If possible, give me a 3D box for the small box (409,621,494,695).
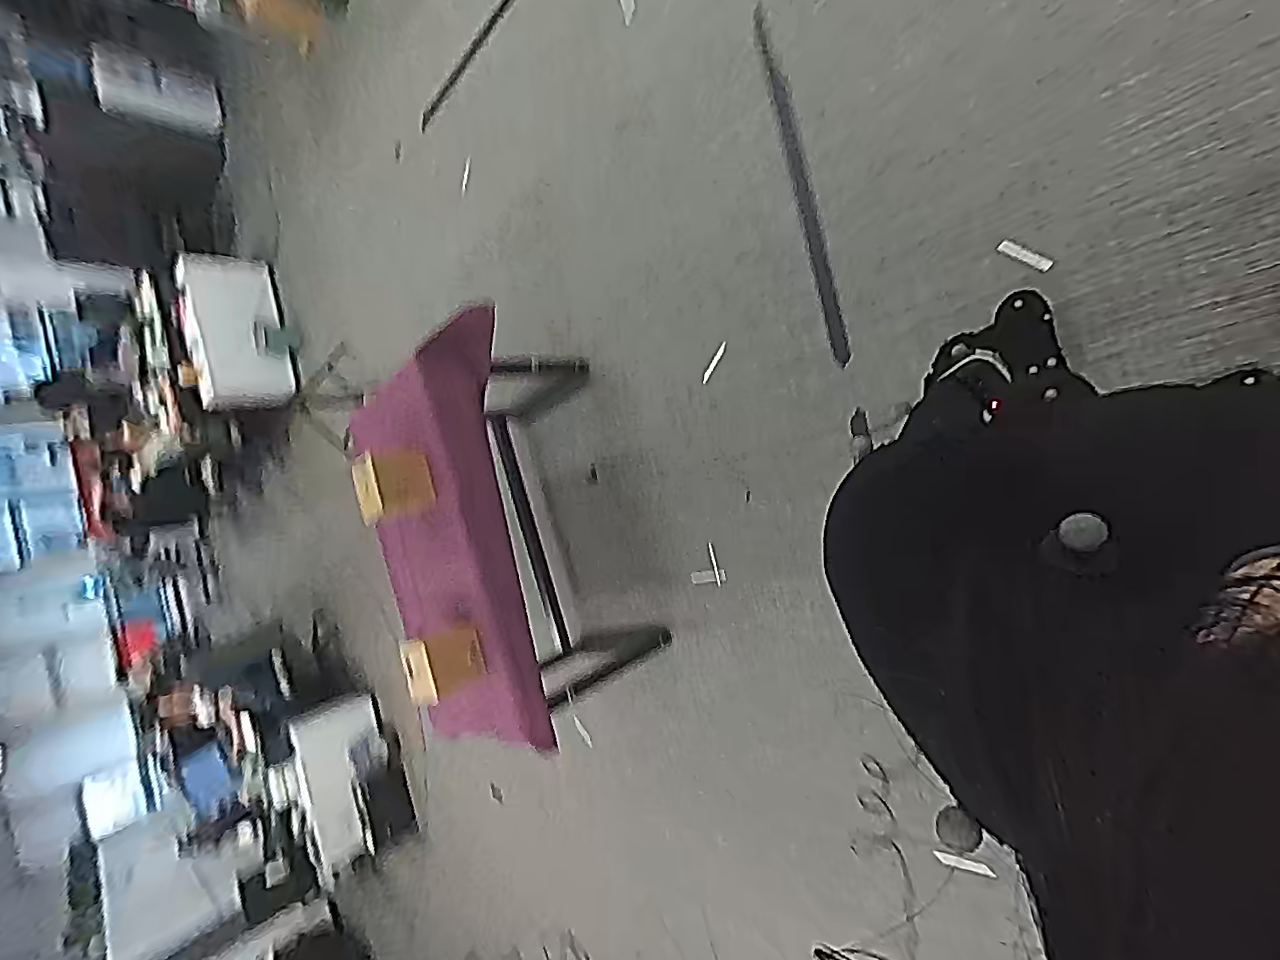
[{"bbox_3d":[-0.575,0.540,1.654,0.179,0.176,0.168,-20,85,43],"label":"small box"}]

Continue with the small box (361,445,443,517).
[{"bbox_3d":[-0.743,0.001,1.697,0.168,0.176,0.179,-19,87,43],"label":"small box"}]
